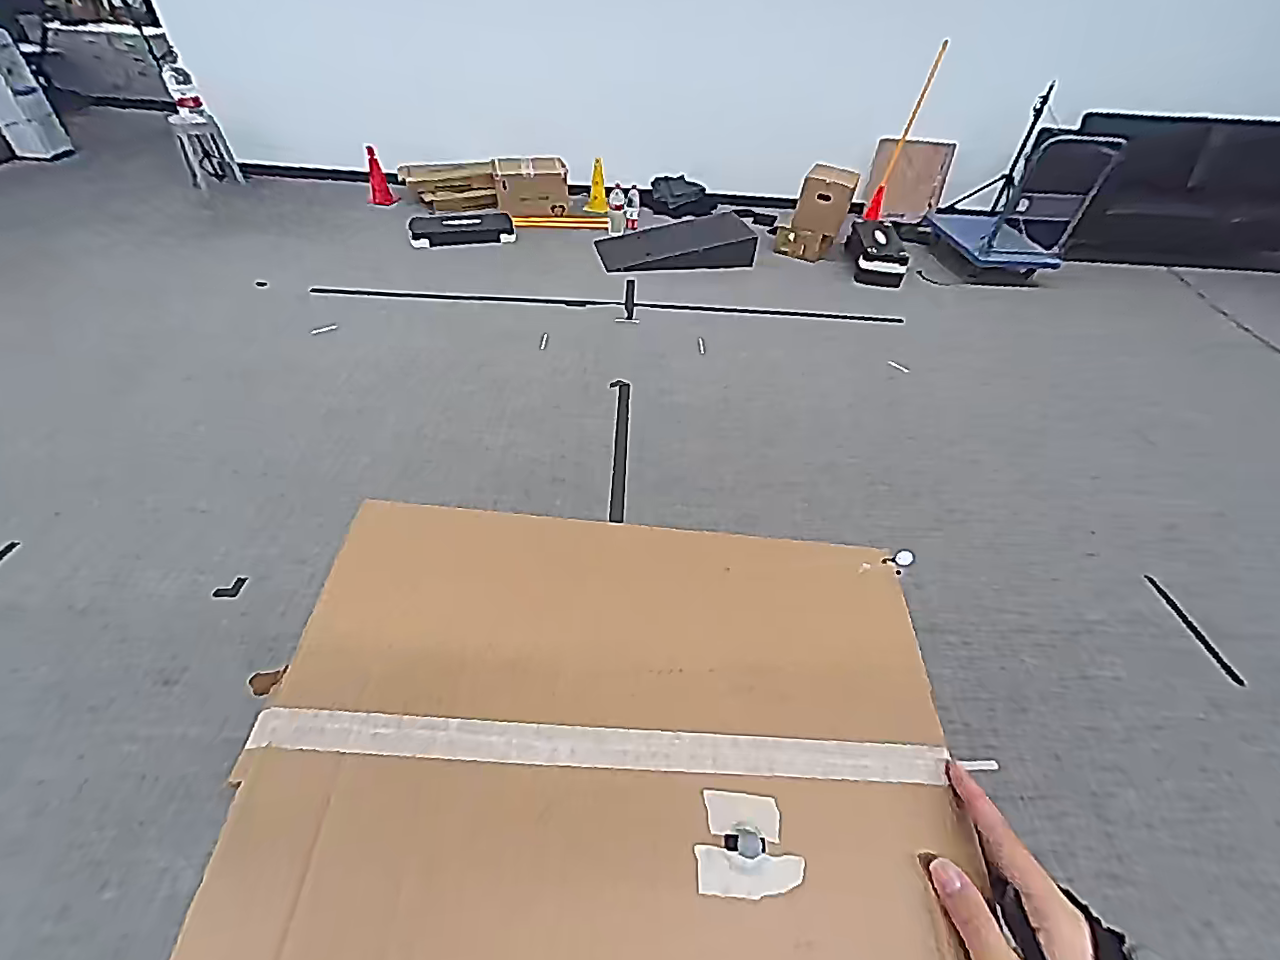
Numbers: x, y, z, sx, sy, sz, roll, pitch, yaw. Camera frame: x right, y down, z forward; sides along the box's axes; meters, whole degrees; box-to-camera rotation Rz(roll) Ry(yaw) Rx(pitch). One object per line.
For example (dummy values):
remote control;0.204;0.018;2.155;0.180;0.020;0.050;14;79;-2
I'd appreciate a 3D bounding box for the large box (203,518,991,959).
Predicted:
large box;-0.026;0.256;0.445;0.408;0.320;0.320;6;53;-5
